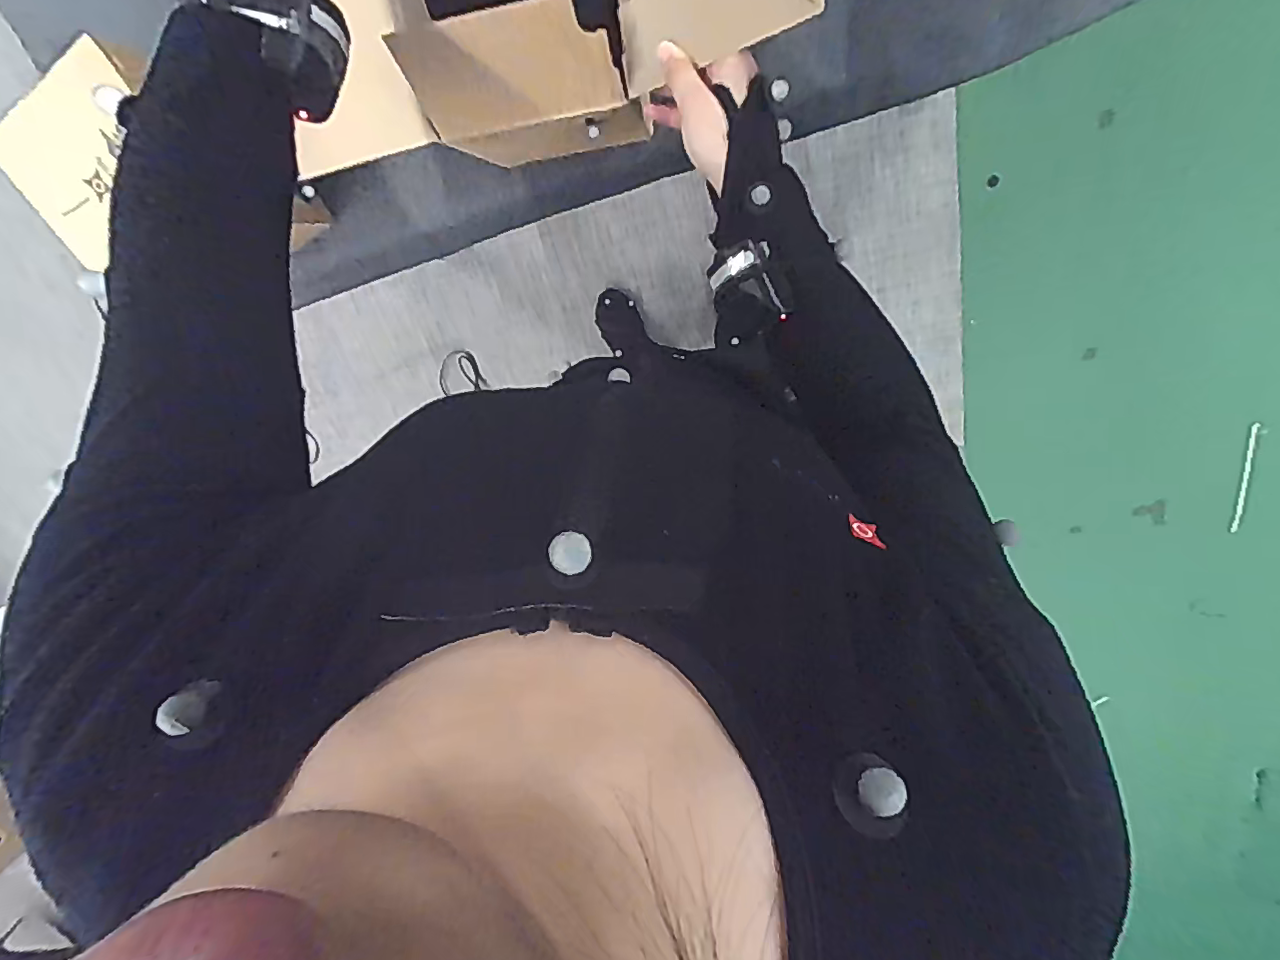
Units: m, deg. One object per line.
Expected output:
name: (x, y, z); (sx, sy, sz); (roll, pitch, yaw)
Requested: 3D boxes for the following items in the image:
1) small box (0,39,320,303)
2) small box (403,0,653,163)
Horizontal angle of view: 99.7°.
small box: (-0.487, -0.315, 0.579); (0.179, 0.176, 0.168); (-22, 112, 17)
small box: (-0.091, -0.403, 0.491); (0.179, 0.176, 0.168); (-6, 113, 9)
